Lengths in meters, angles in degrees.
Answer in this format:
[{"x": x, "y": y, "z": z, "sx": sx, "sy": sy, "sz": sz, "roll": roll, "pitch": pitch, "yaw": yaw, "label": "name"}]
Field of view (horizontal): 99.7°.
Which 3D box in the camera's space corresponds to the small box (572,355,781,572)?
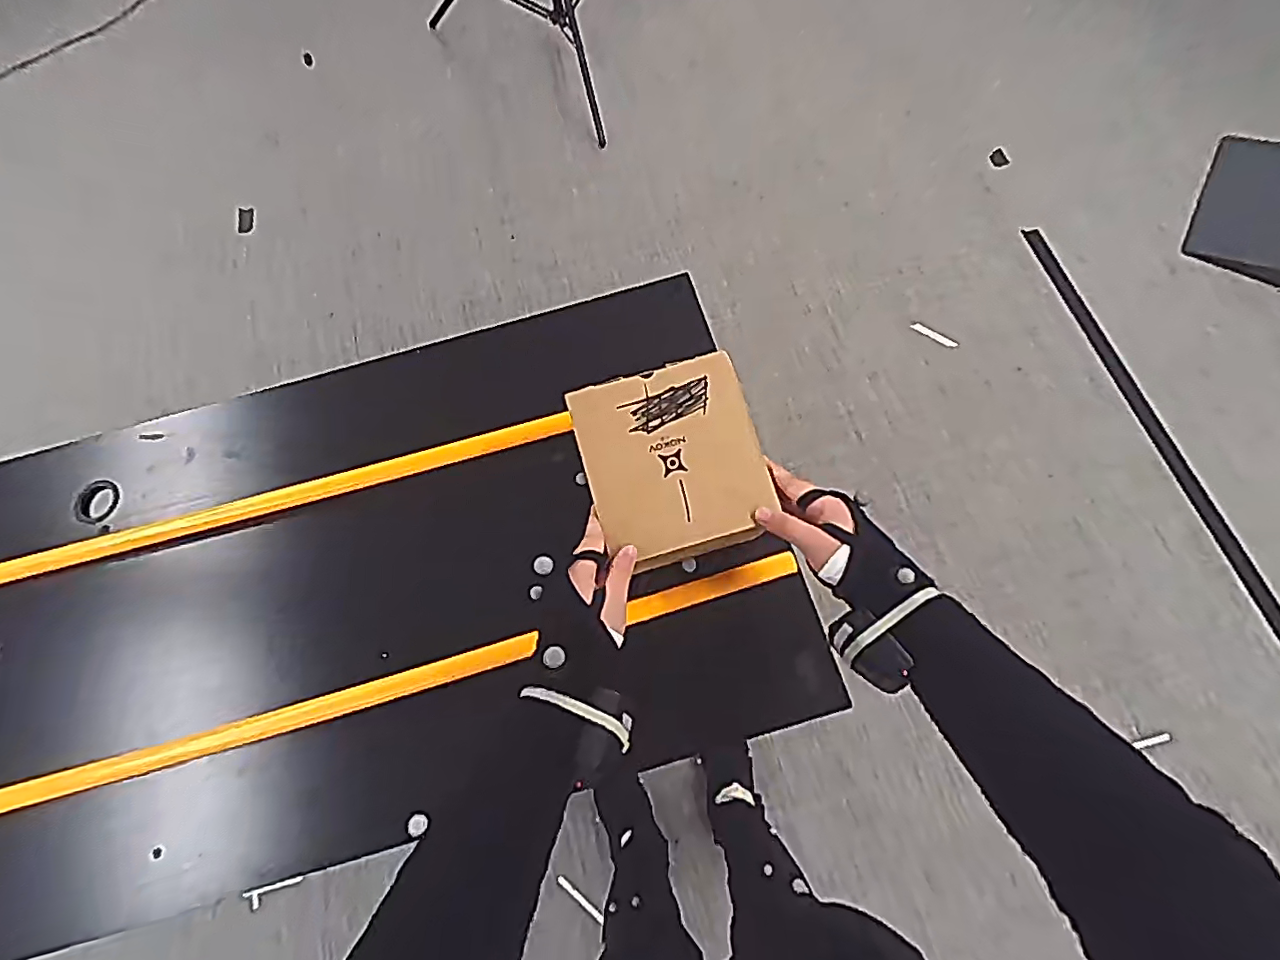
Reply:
[{"x": 0.033, "y": -0.006, "z": 0.594, "sx": 0.168, "sy": 0.176, "sz": 0.179, "roll": -16, "pitch": 78, "yaw": -2, "label": "small box"}]
